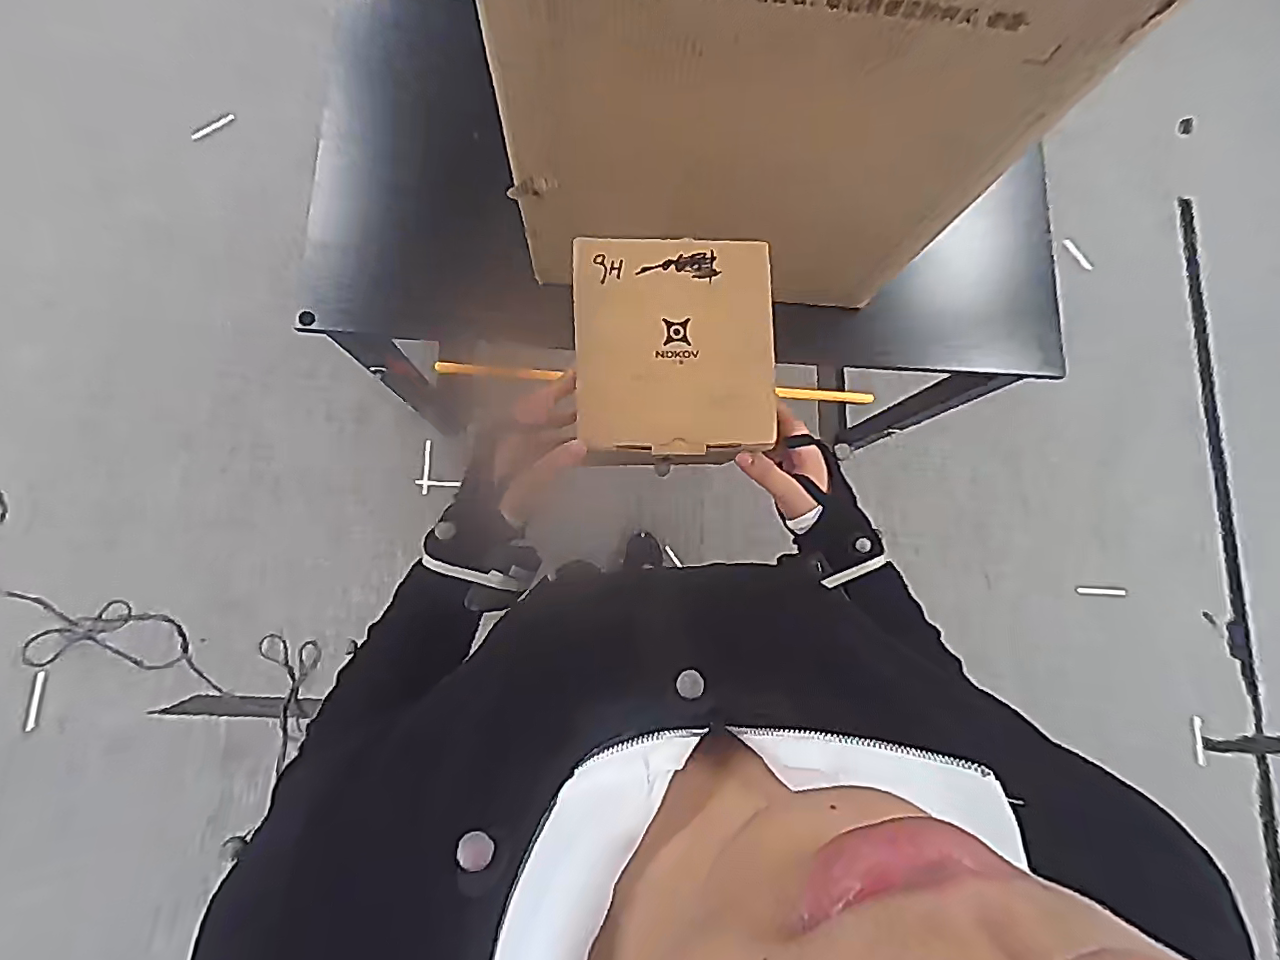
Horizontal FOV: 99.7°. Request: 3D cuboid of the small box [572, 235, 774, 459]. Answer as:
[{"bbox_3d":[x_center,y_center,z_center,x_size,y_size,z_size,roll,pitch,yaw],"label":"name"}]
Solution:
[{"bbox_3d":[0.022,-0.111,0.522,0.168,0.176,0.179,-2,88,-6],"label":"small box"}]
